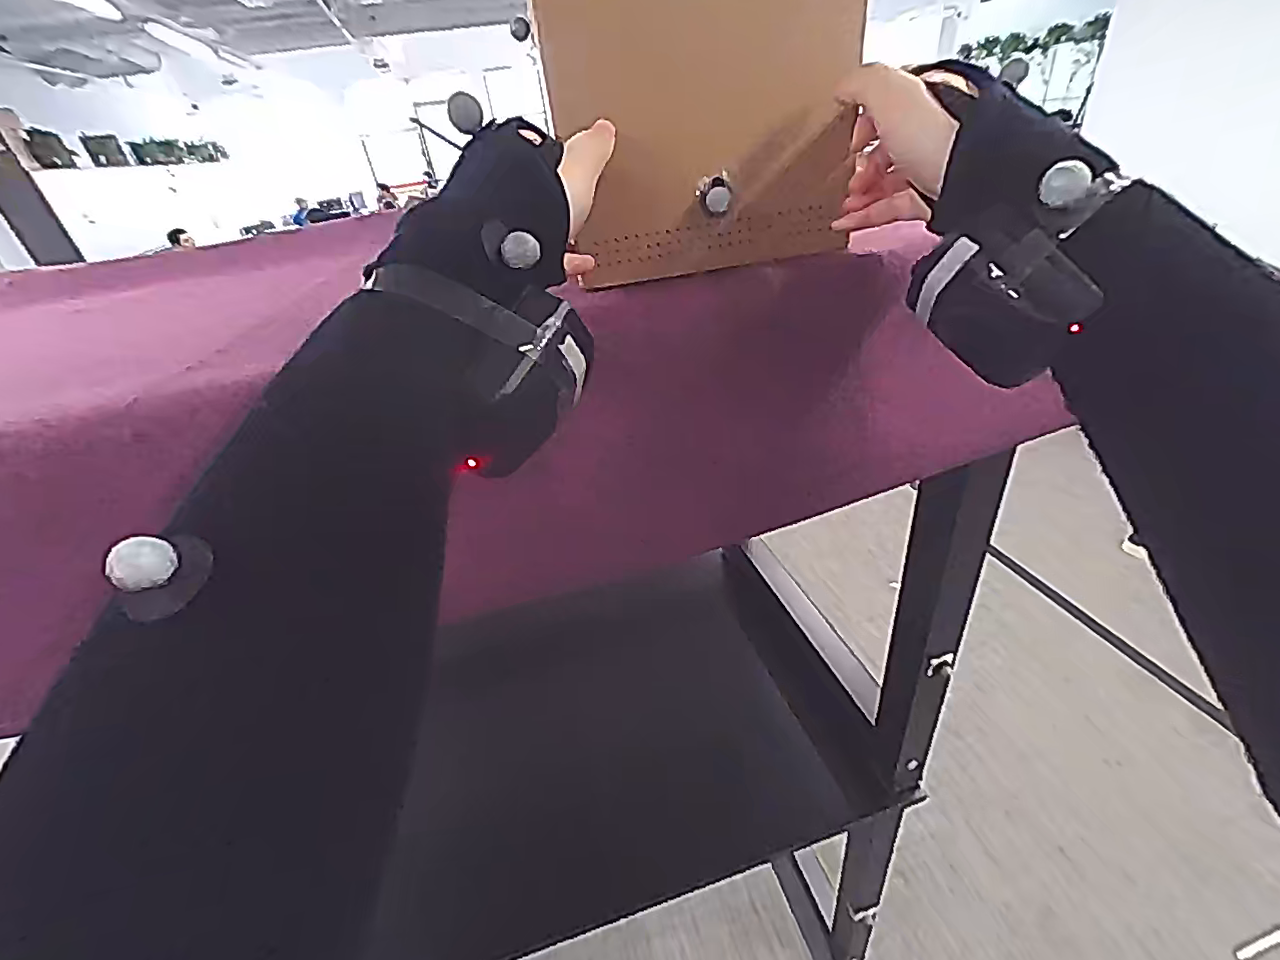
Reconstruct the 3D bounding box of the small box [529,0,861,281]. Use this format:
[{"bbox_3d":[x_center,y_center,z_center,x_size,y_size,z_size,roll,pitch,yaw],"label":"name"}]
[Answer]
[{"bbox_3d":[0.027,-0.245,0.362,0.179,0.176,0.168,-11,31,-4],"label":"small box"}]
